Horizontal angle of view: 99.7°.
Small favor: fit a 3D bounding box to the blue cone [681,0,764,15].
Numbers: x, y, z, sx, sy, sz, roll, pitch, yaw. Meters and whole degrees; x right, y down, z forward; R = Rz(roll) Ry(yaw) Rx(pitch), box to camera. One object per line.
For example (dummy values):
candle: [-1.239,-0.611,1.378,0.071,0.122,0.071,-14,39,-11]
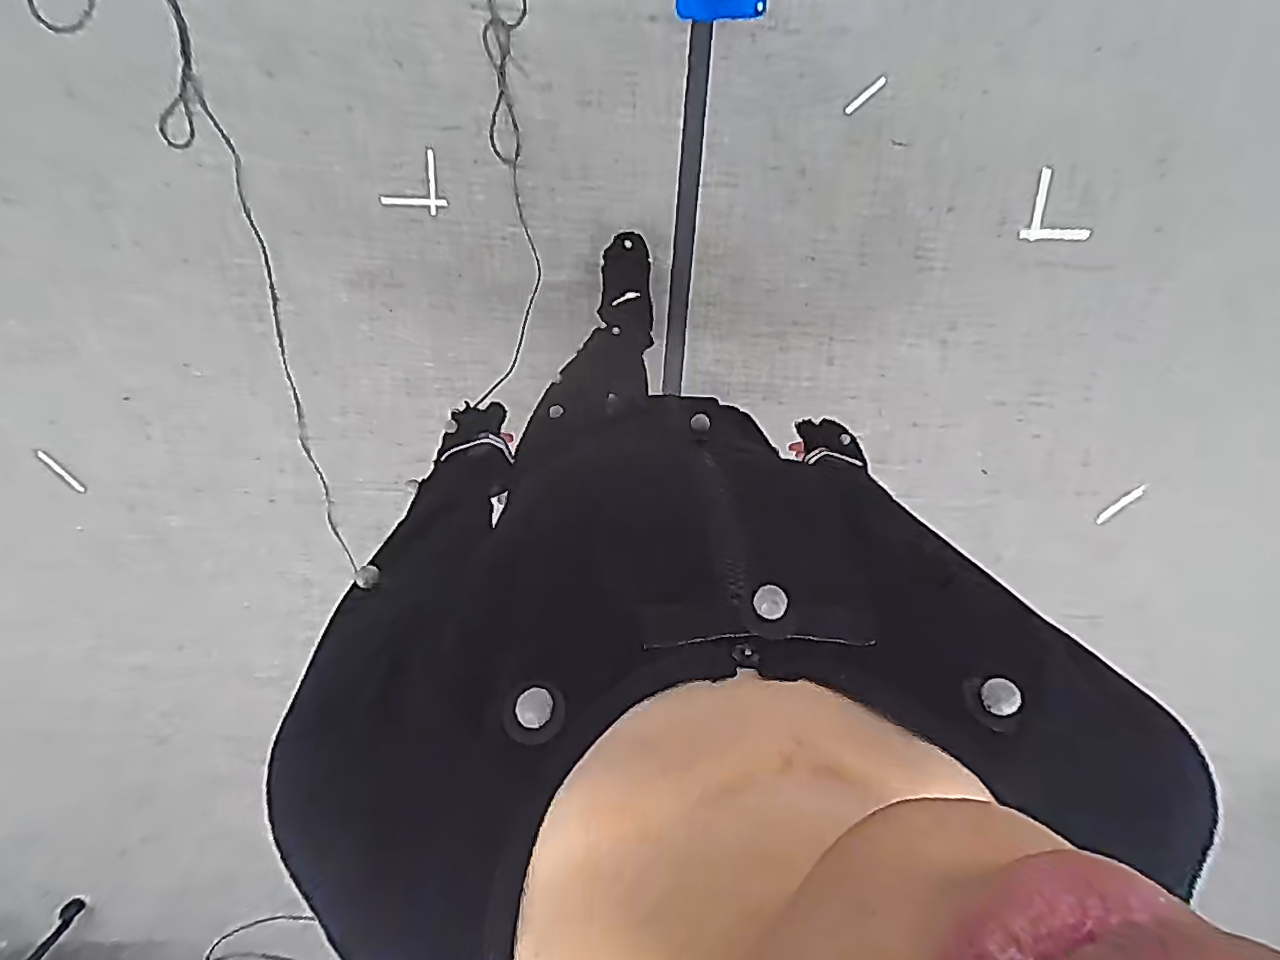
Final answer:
blue cone: [0.183,-1.063,1.000,0.192,0.380,0.193,-1,107,-3]
